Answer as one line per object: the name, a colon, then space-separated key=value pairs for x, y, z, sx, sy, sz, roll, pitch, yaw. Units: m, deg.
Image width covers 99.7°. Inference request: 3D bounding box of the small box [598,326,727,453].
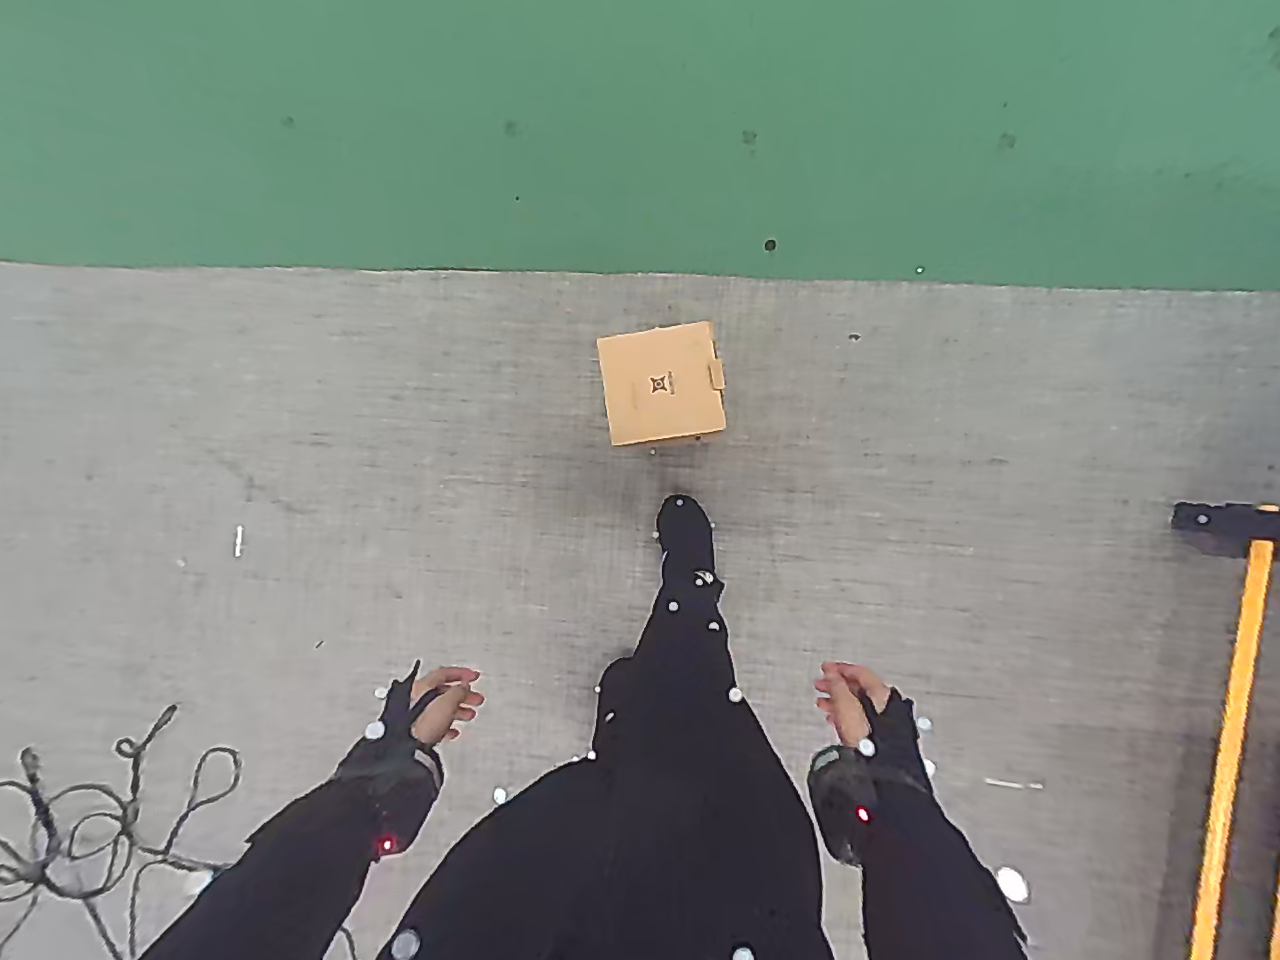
small box: x=0.039 y=-0.139 z=0.887 sx=0.179 sy=0.176 sz=0.168 roll=-9 pitch=89 yaw=6
